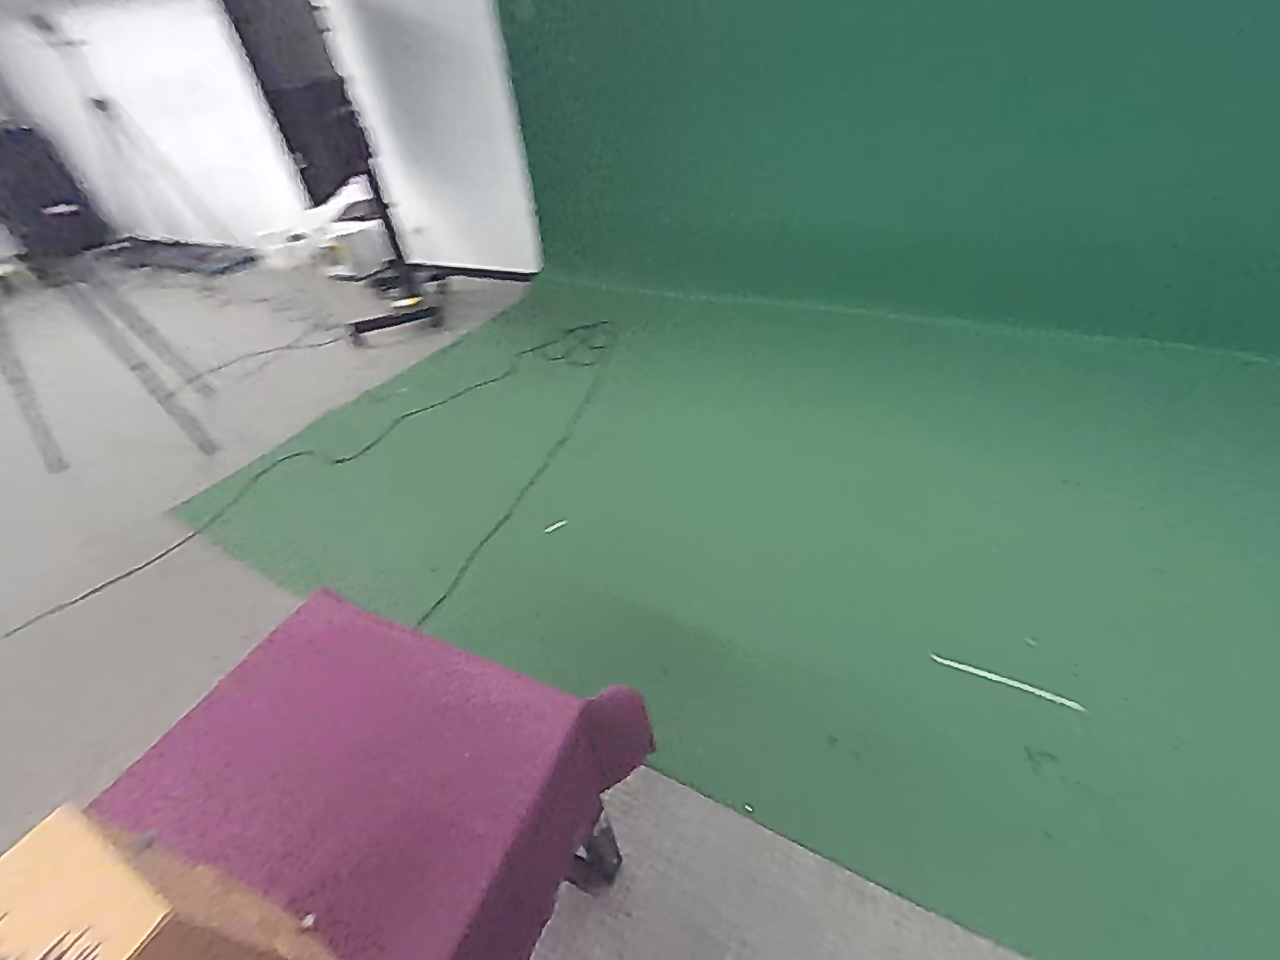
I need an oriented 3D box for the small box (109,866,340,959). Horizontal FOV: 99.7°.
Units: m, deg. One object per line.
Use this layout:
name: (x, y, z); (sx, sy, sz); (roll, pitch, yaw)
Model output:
small box: (-0.418, 0.532, 0.522); (0.168, 0.176, 0.179); (15, 44, 24)
